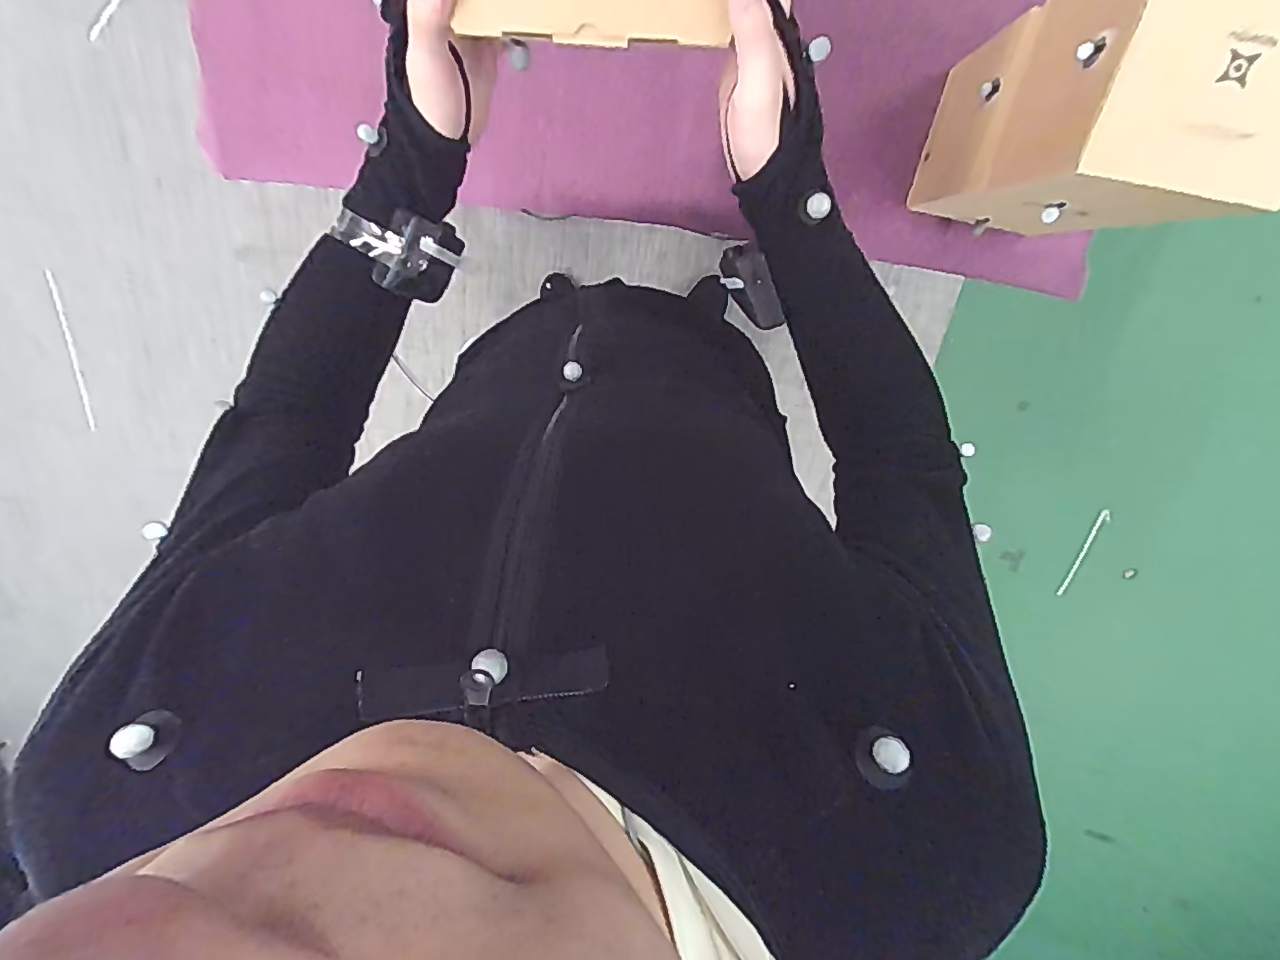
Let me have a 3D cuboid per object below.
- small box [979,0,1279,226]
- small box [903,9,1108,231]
[{"bbox_3d":[0.444,-0.340,0.478,0.168,0.176,0.179,12,112,0],"label":"small box"},{"bbox_3d":[0.449,-0.396,0.631,0.179,0.176,0.168,11,111,-2],"label":"small box"}]
